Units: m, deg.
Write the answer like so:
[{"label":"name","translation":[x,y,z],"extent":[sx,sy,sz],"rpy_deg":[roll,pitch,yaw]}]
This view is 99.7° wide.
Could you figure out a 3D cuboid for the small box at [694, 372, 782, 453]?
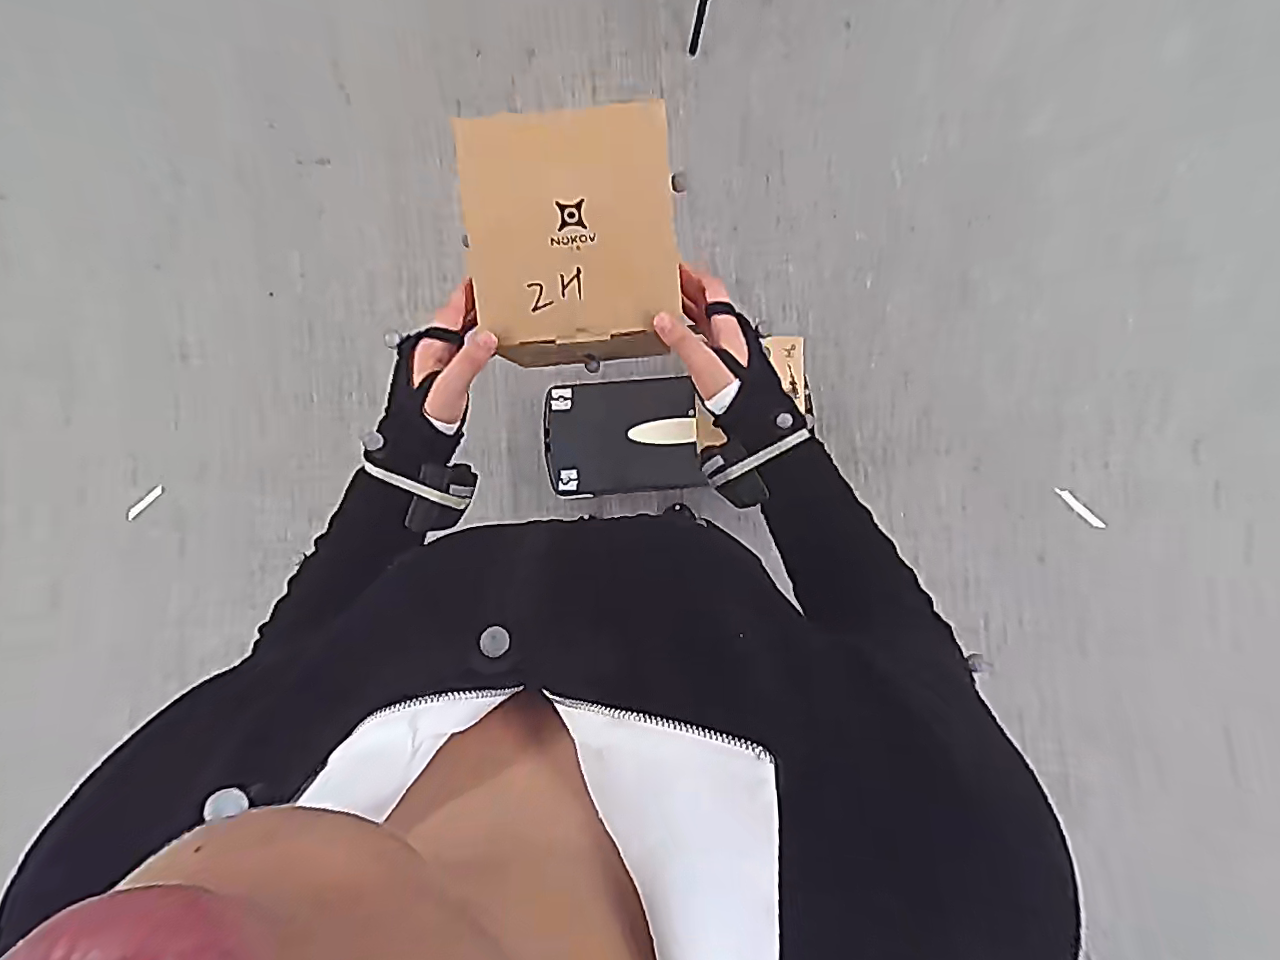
[{"label":"small box","translation":[0.215,-0.151,1.236],"extent":[0.179,0.176,0.168],"rpy_deg":[-3,87,2]}]

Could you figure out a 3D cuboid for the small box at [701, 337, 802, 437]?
[{"label":"small box","translation":[0.213,-0.178,1.074],"extent":[0.179,0.176,0.168],"rpy_deg":[0,87,2]}]

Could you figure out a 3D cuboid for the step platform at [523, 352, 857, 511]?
[{"label":"step platform","translation":[0.100,-0.096,1.199],"extent":[0.684,0.204,0.286],"rpy_deg":[-4,87,0]}]
